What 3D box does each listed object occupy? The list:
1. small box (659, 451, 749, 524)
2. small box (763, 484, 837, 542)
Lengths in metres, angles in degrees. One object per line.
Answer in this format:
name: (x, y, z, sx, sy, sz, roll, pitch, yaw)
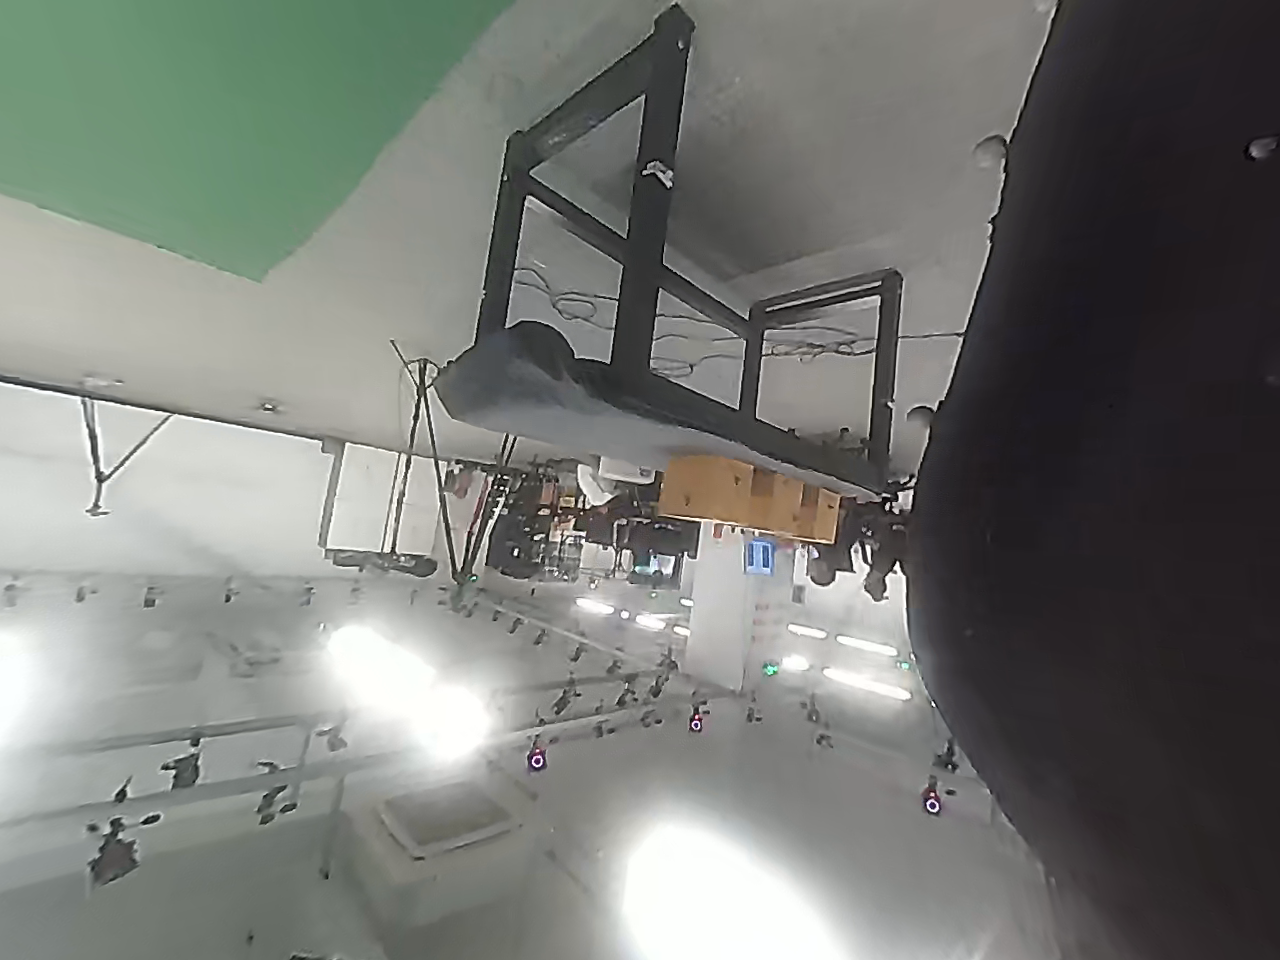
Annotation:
small box: (0.176, 0.020, 1.461, 0.168, 0.176, 0.179, 13, 172, -43)
small box: (0.538, 0.108, 1.808, 0.179, 0.176, 0.168, 4, 174, 43)
